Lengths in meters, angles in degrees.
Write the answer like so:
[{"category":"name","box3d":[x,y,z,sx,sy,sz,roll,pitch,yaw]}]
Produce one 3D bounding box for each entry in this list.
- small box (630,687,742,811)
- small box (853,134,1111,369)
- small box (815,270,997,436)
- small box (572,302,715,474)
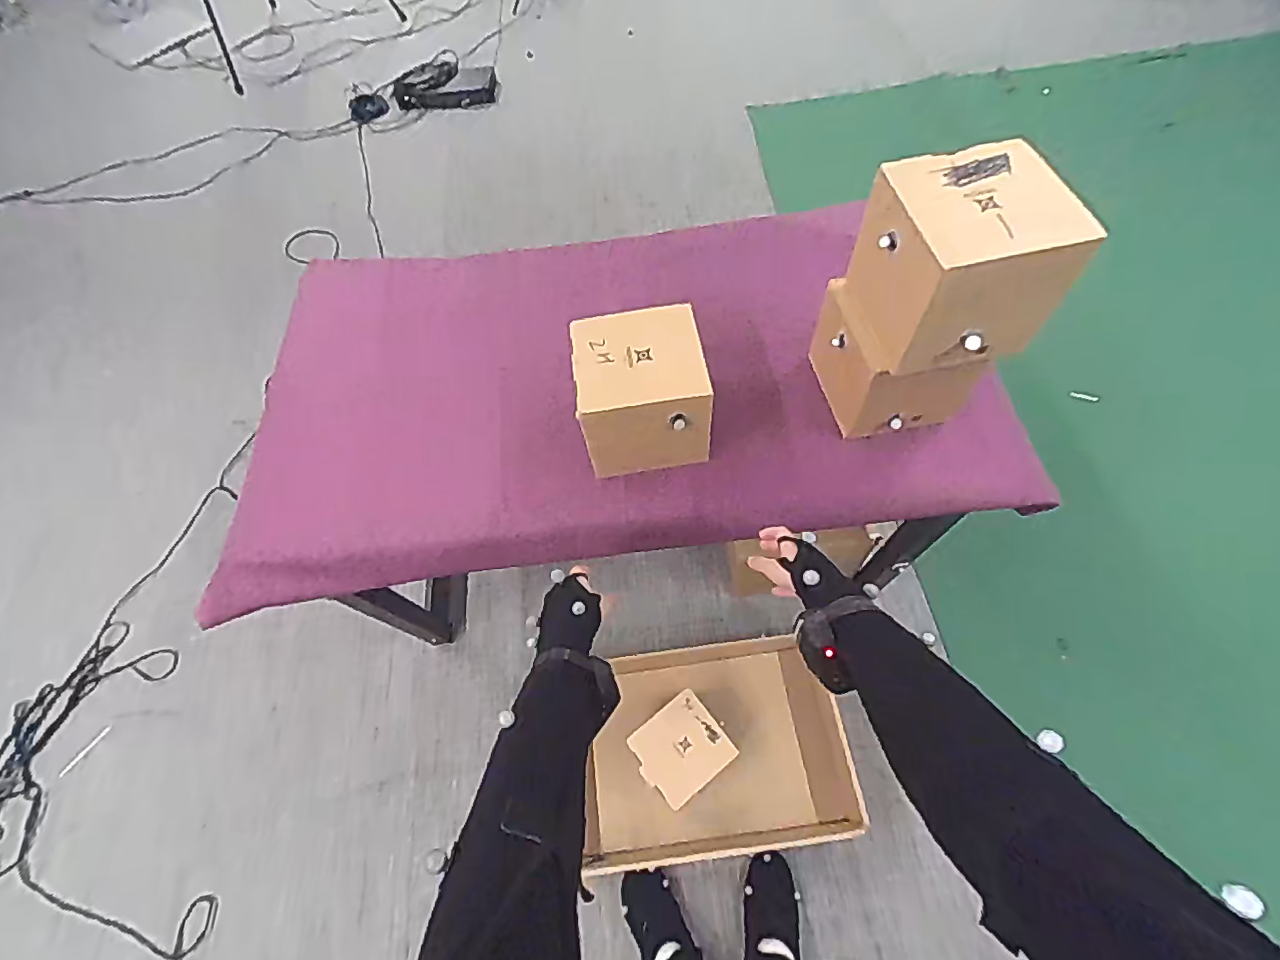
[{"category":"small box","box3d":[0.103,0.582,1.174,0.179,0.176,0.168,-36,65,-12]},{"category":"small box","box3d":[0.369,-0.259,0.631,0.168,0.176,0.179,-11,61,2]},{"category":"small box","box3d":[0.367,-0.189,0.781,0.168,0.176,0.179,-11,61,1]},{"category":"small box","box3d":[0.006,-0.126,0.784,0.179,0.176,0.168,-9,60,1]}]
